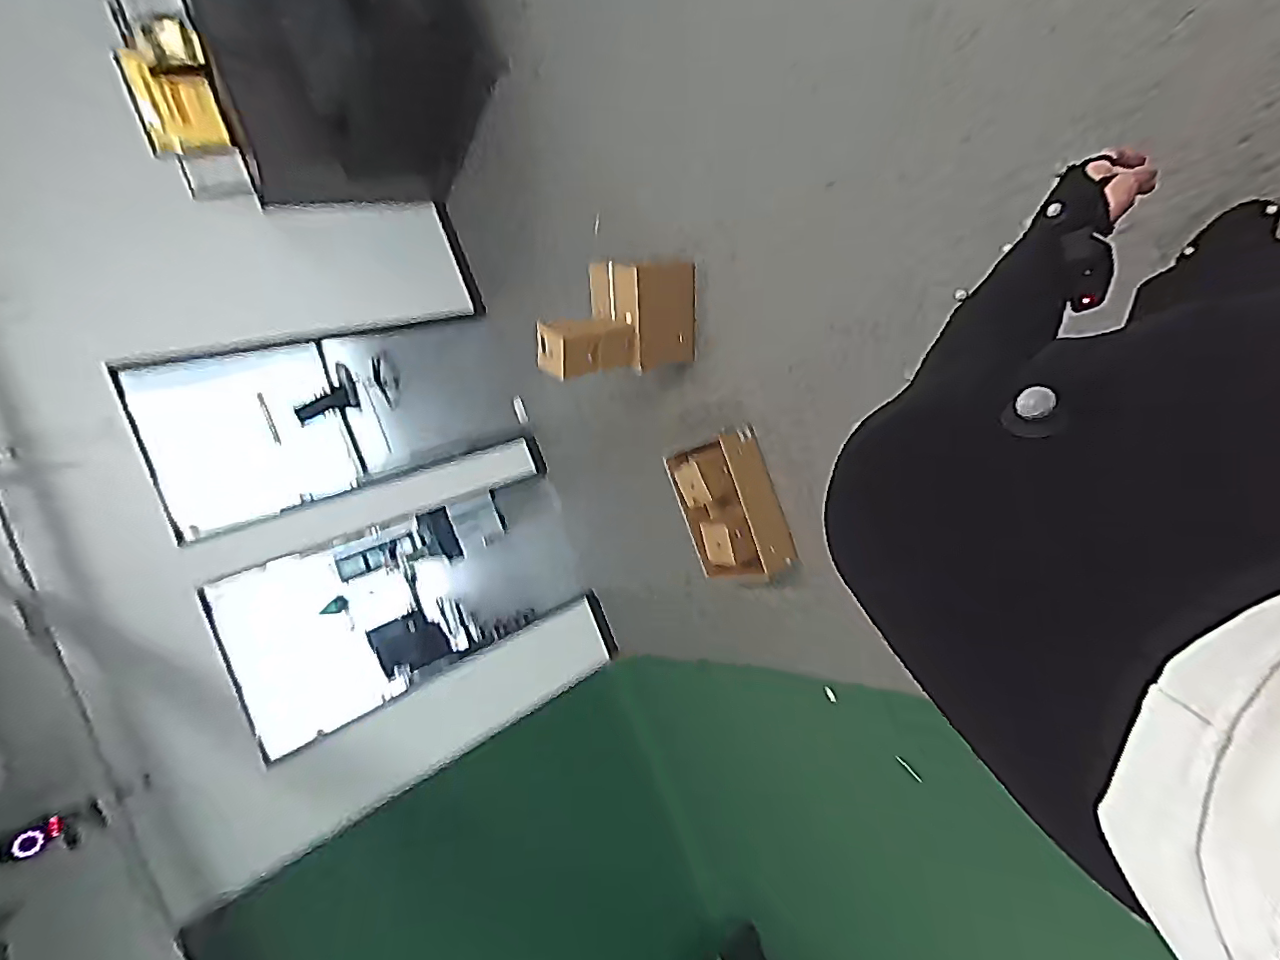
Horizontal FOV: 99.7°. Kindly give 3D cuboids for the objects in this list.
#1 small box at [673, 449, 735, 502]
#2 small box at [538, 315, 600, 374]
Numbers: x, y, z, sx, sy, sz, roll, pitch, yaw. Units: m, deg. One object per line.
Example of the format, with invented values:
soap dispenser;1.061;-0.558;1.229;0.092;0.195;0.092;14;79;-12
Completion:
small box;0.279;-0.023;2.333;0.168;0.176;0.179;-24;89;56
small box;-0.273;-0.523;2.061;0.179;0.176;0.168;36;135;36
